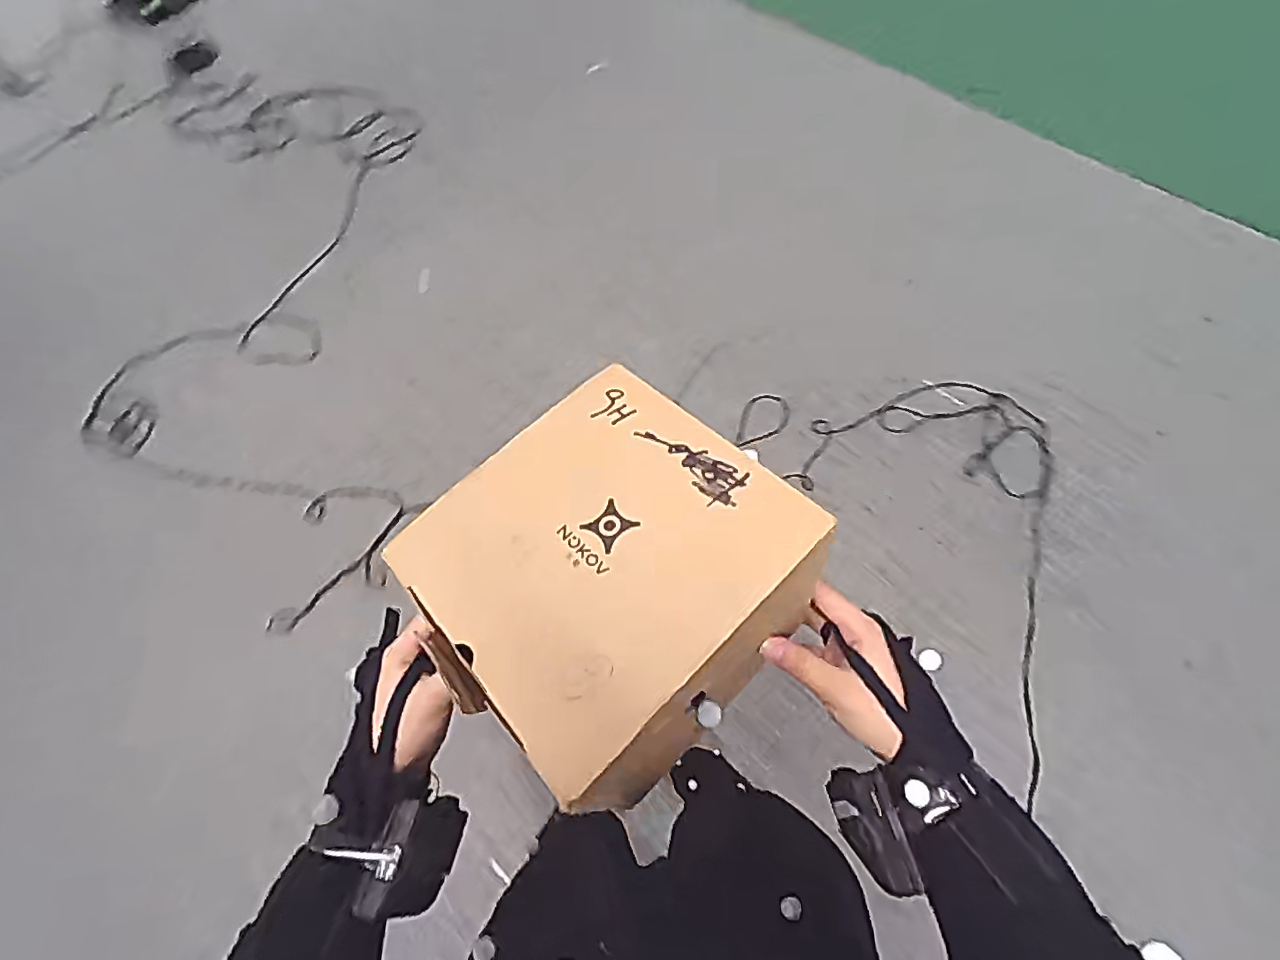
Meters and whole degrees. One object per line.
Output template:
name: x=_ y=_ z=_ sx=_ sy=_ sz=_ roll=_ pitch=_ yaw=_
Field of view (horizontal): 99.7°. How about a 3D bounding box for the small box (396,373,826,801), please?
small box: x=-0.008 y=0.074 z=0.348 sx=0.179 sy=0.176 sz=0.168 roll=-41 pitch=61 yaw=-14
